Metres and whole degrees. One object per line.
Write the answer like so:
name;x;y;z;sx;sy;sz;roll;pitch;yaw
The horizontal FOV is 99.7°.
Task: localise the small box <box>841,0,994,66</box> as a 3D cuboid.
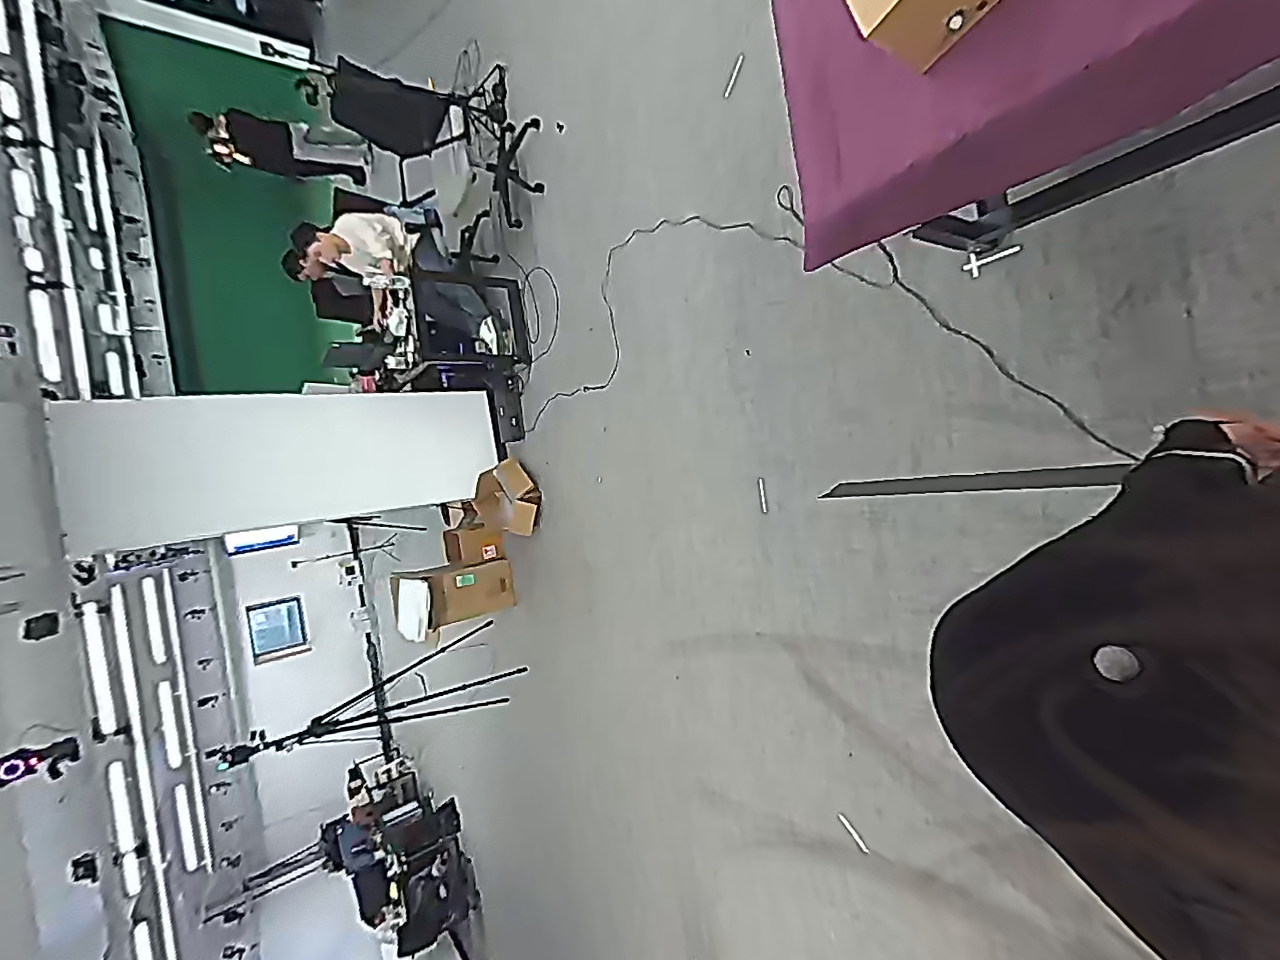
small box;0.392;-0.736;0.759;0.168;0.176;0.179;-31;73;53
